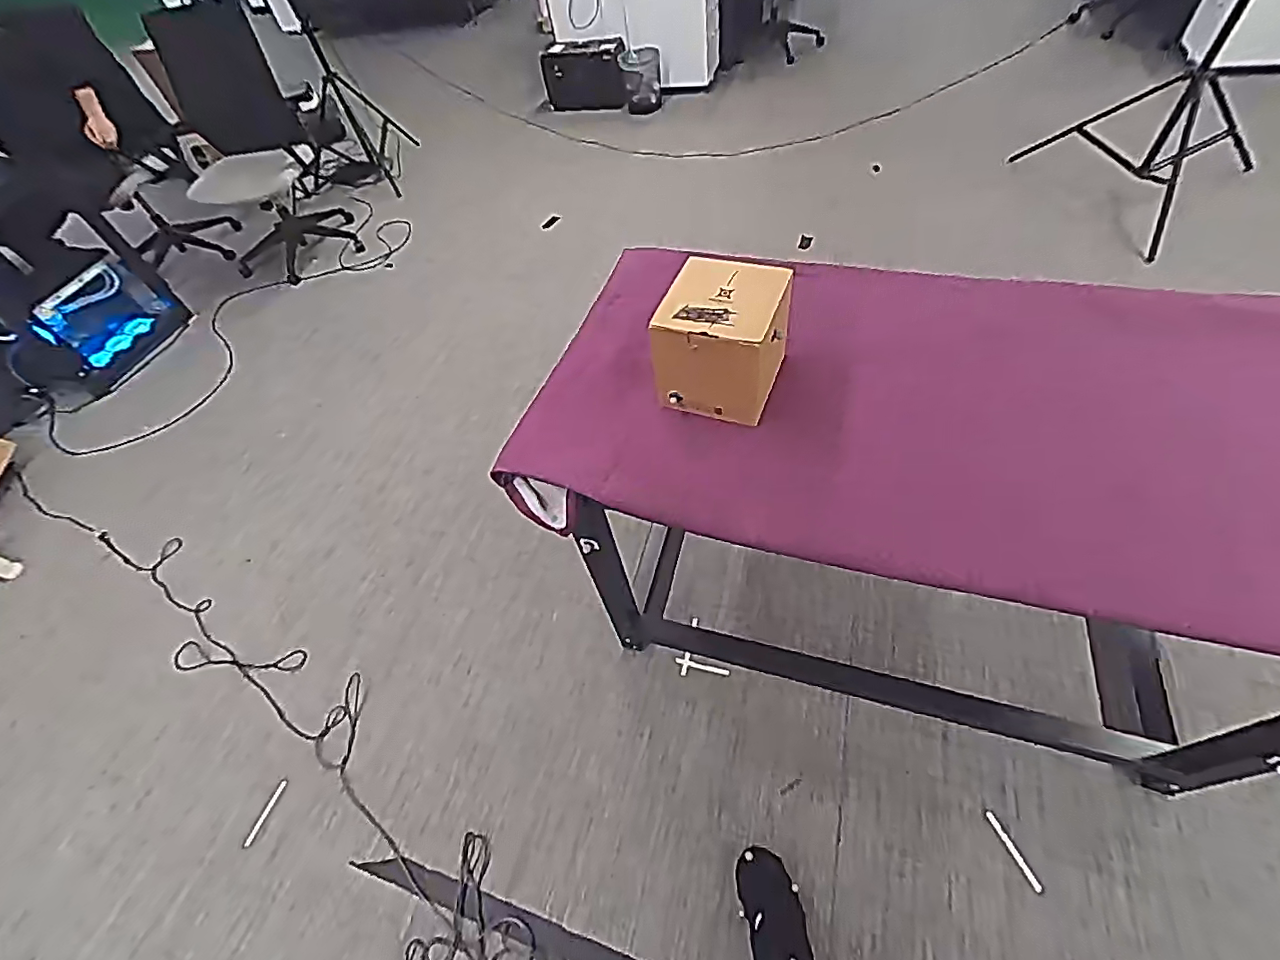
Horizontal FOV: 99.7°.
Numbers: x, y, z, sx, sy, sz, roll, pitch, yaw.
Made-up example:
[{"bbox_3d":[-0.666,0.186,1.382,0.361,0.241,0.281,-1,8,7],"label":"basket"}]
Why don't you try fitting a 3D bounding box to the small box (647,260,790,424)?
[{"bbox_3d":[0.127,-0.213,0.847,0.168,0.176,0.179,16,57,19],"label":"small box"}]
